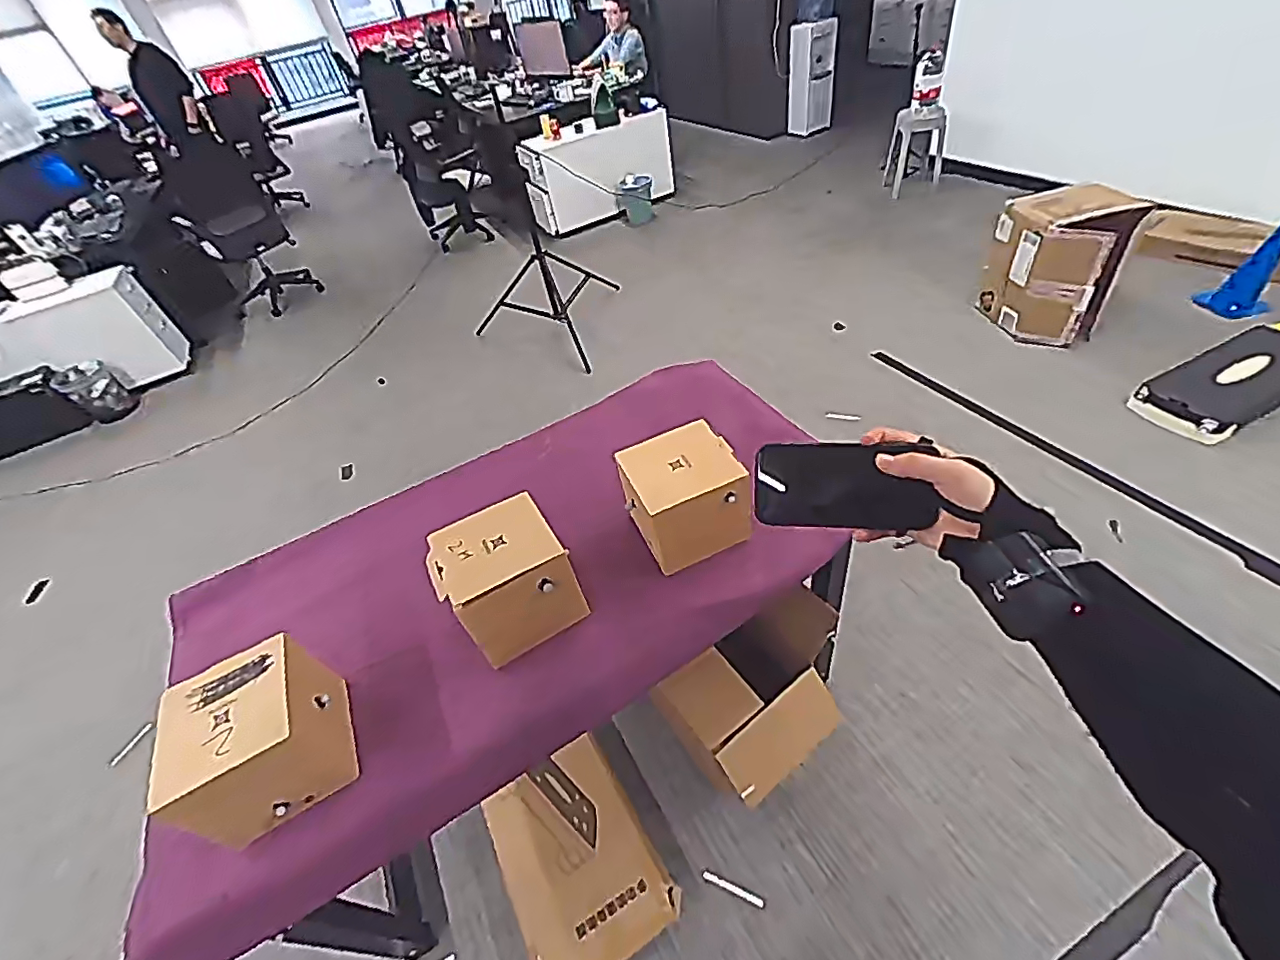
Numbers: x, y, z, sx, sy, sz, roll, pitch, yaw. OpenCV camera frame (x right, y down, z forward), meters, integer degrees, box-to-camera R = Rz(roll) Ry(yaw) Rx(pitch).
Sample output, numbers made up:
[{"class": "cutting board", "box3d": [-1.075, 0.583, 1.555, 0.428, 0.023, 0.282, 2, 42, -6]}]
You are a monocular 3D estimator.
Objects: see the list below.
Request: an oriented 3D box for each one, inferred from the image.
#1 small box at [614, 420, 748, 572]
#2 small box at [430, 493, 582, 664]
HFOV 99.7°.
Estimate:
[{"class": "small box", "box3d": [0.075, 0.030, 0.944, 0.179, 0.176, 0.168, -22, 45, -10]}, {"class": "small box", "box3d": [-0.208, 0.160, 0.878, 0.179, 0.176, 0.168, -28, 44, -15]}]
